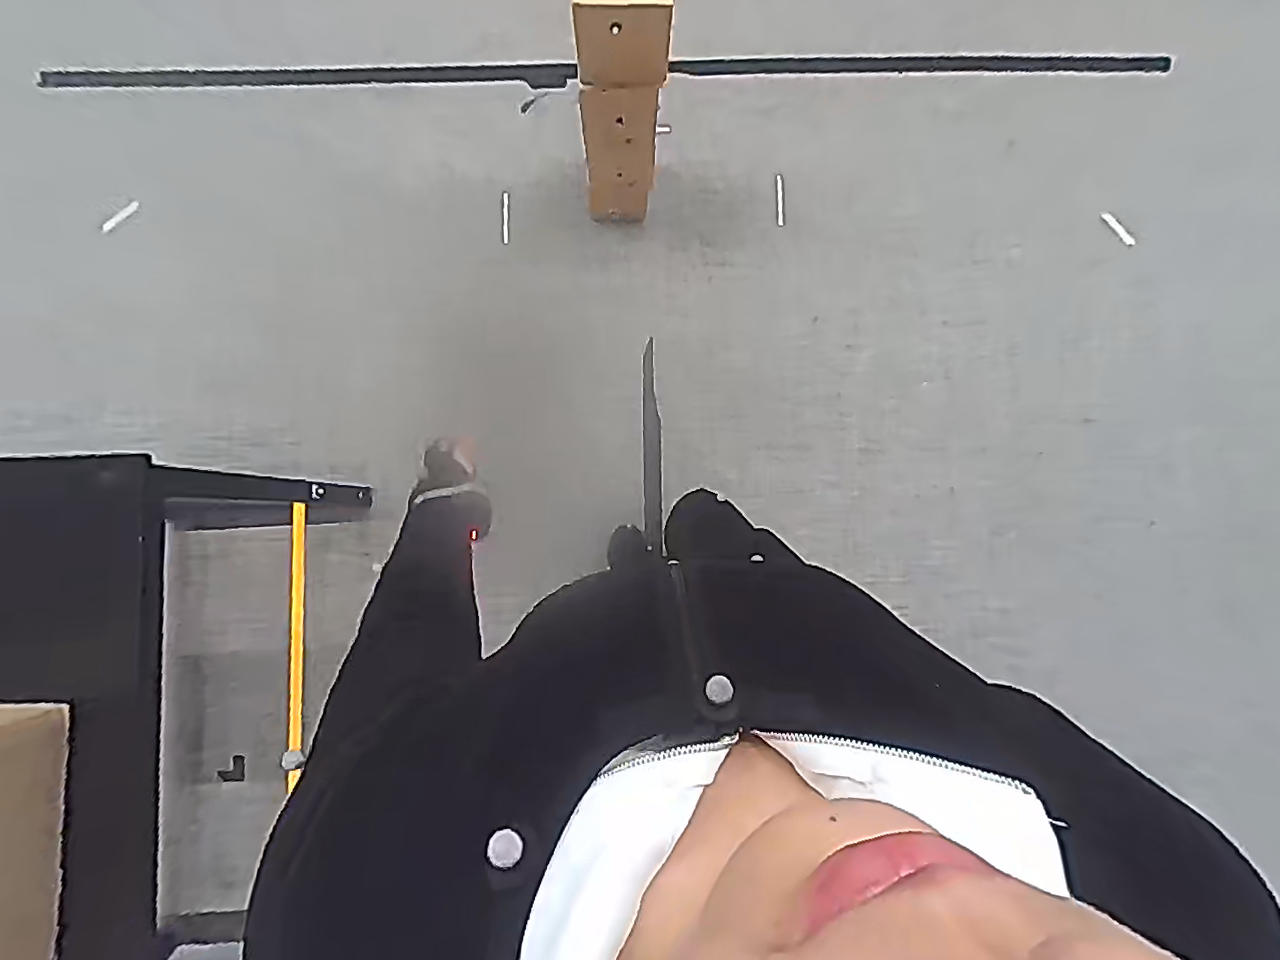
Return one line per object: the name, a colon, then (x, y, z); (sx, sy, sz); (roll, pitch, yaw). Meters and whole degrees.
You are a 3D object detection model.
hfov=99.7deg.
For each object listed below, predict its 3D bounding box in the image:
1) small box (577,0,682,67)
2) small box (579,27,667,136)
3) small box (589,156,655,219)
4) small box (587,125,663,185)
small box: (-0.019, -0.844, 0.918); (0.179, 0.176, 0.168); (-2, 86, -2)
small box: (-0.031, -0.822, 1.082); (0.168, 0.176, 0.179); (-1, 87, -1)
small box: (-0.048, -0.811, 1.411); (0.168, 0.176, 0.179); (-2, 88, -1)
small box: (-0.035, -0.814, 1.246); (0.168, 0.176, 0.179); (-1, 86, -1)
